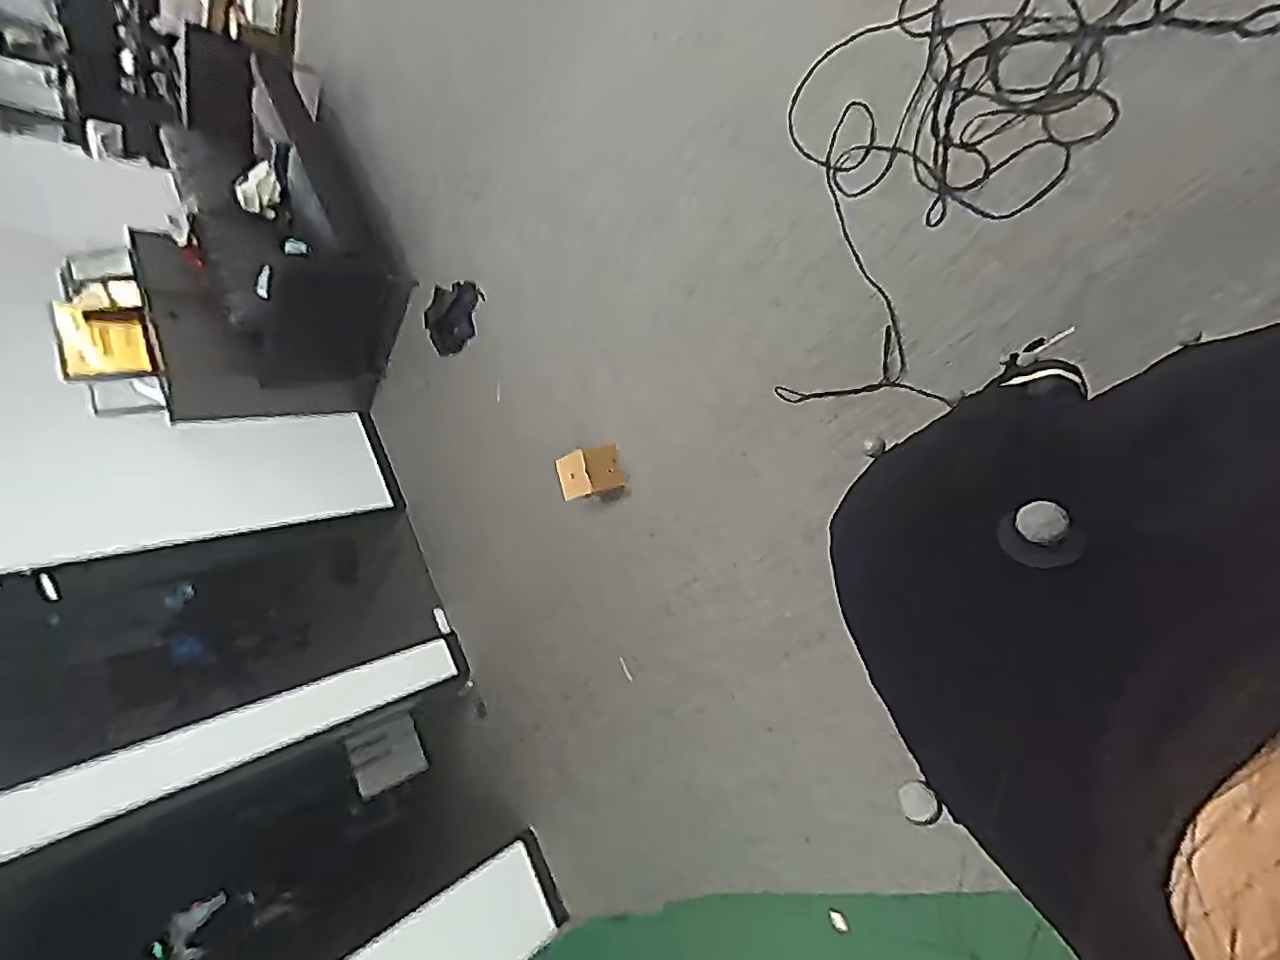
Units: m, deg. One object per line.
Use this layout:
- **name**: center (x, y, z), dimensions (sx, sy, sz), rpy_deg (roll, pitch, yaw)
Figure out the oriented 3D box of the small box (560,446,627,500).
- **small box**: center (-0.175, -0.027, 2.064), dimensions (0.179, 0.176, 0.168), rpy_deg (-21, 83, 46)
